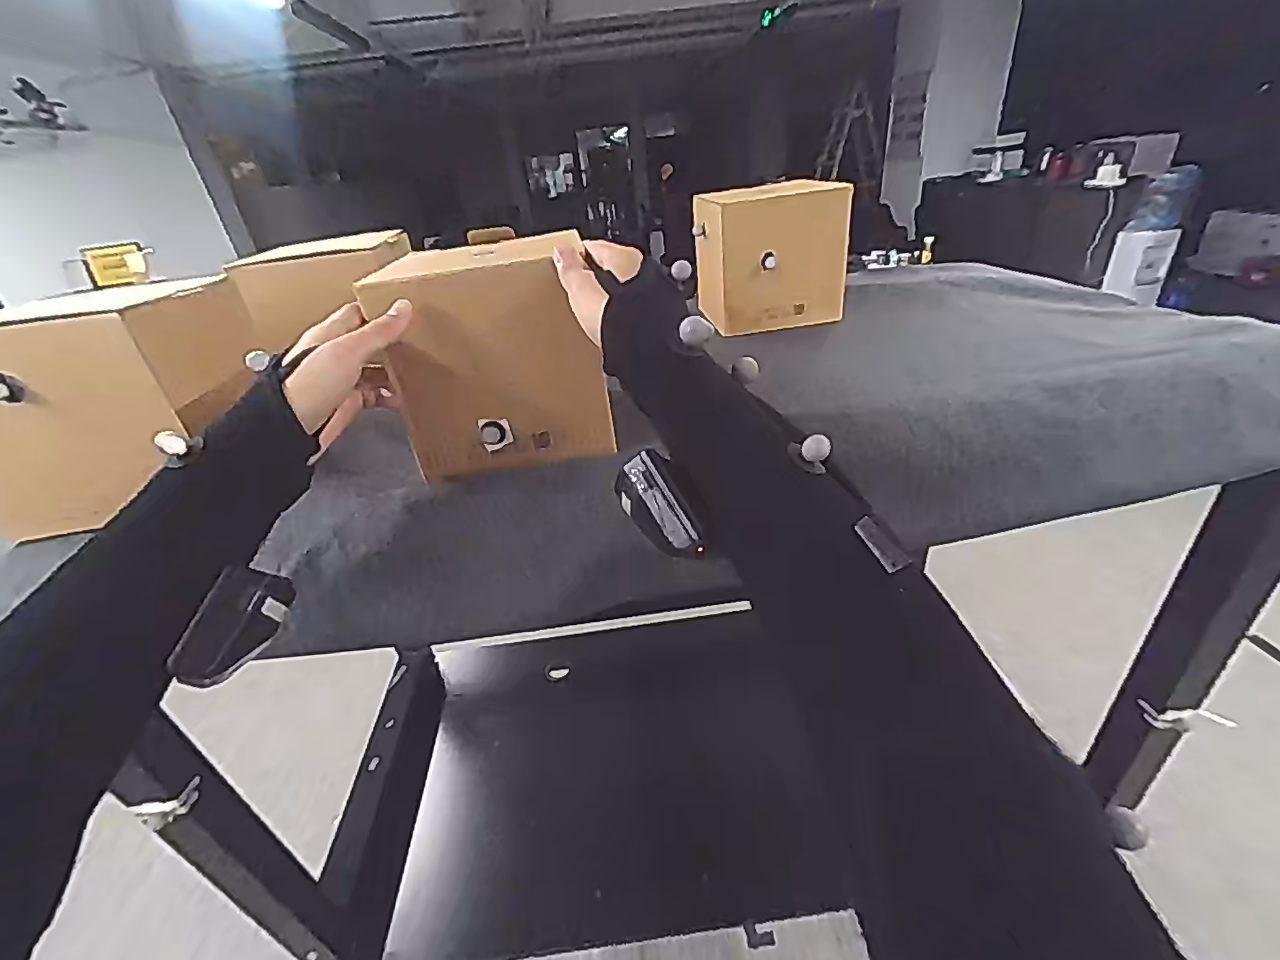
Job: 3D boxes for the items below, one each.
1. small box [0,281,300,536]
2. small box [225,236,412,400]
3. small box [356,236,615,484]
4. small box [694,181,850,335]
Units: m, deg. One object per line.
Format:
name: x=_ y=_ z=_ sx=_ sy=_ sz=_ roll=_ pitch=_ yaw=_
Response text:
small box: x=-0.451 y=-0.067 z=0.480 sx=0.179 sy=0.176 sz=0.168 roll=-9 pitch=30 yaw=-5
small box: x=-0.394 y=-0.222 z=0.732 sx=0.179 sy=0.176 sz=0.168 roll=-8 pitch=31 yaw=-4
small box: x=-0.120 y=-0.116 z=0.491 sx=0.168 sy=0.176 sz=0.179 roll=-10 pitch=30 yaw=-4
small box: x=0.176 y=-0.309 z=0.758 sx=0.168 sy=0.176 sz=0.179 roll=-9 pitch=31 yaw=-2
